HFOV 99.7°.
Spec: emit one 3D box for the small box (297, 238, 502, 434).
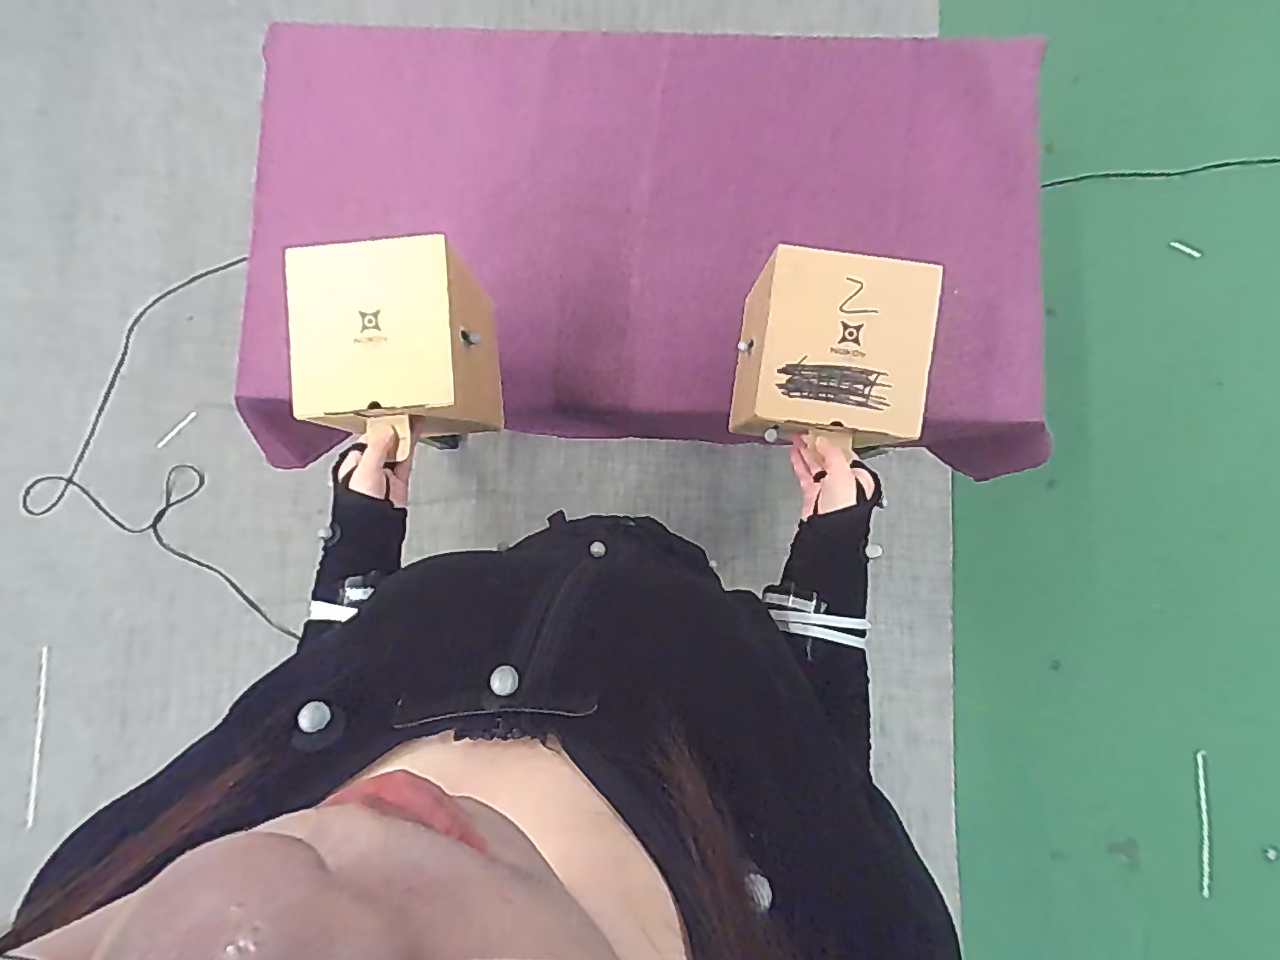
[{"bbox_3d":[-0.268,-0.156,0.635,0.168,0.176,0.179,-5,88,2],"label":"small box"}]
